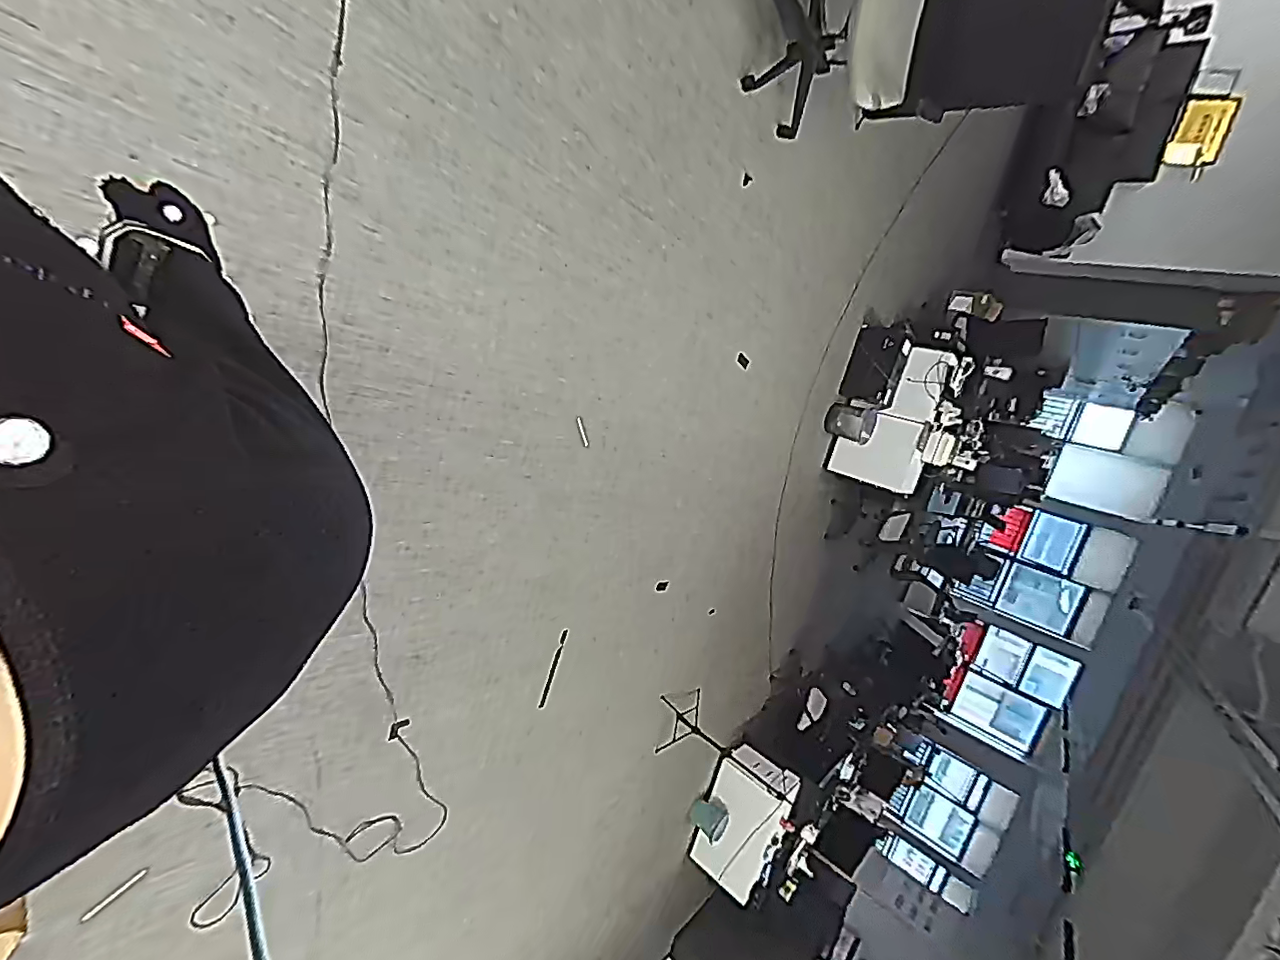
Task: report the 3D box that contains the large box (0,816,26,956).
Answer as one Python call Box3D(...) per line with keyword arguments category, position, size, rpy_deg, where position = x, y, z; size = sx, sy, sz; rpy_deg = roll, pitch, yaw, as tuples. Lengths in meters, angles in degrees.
Box3D(category="large box", position=(-1.455, 0.841, 0.942), size=(0.320, 0.320, 0.408), rpy_deg=(-59, 144, -10))
